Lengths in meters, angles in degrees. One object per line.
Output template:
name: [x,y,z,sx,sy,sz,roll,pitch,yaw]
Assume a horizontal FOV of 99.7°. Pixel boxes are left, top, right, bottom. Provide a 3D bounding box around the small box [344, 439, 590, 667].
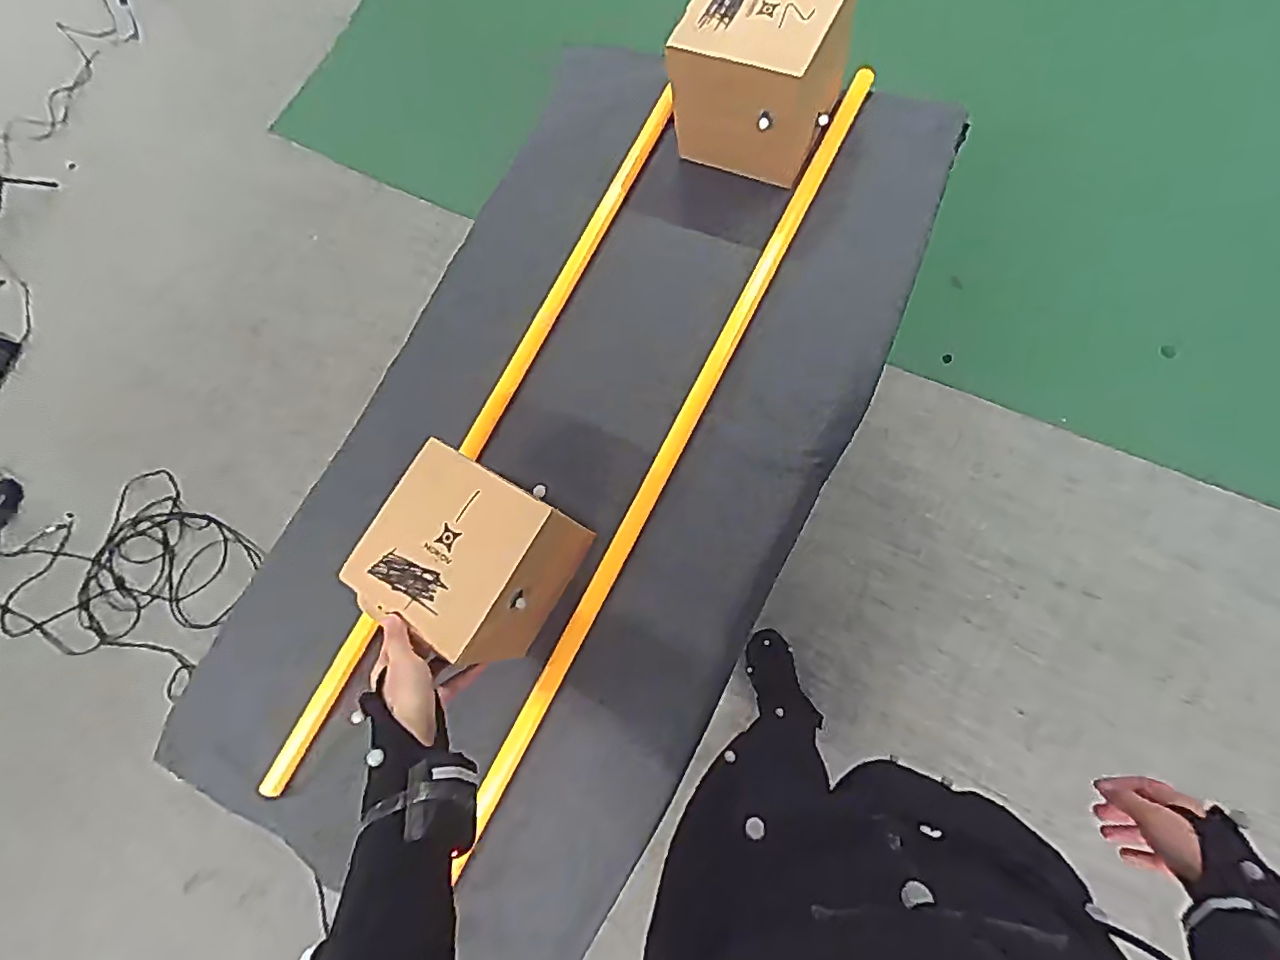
small box: [-0.178,0.087,0.616,0.168,0.176,0.179,29,82,16]
